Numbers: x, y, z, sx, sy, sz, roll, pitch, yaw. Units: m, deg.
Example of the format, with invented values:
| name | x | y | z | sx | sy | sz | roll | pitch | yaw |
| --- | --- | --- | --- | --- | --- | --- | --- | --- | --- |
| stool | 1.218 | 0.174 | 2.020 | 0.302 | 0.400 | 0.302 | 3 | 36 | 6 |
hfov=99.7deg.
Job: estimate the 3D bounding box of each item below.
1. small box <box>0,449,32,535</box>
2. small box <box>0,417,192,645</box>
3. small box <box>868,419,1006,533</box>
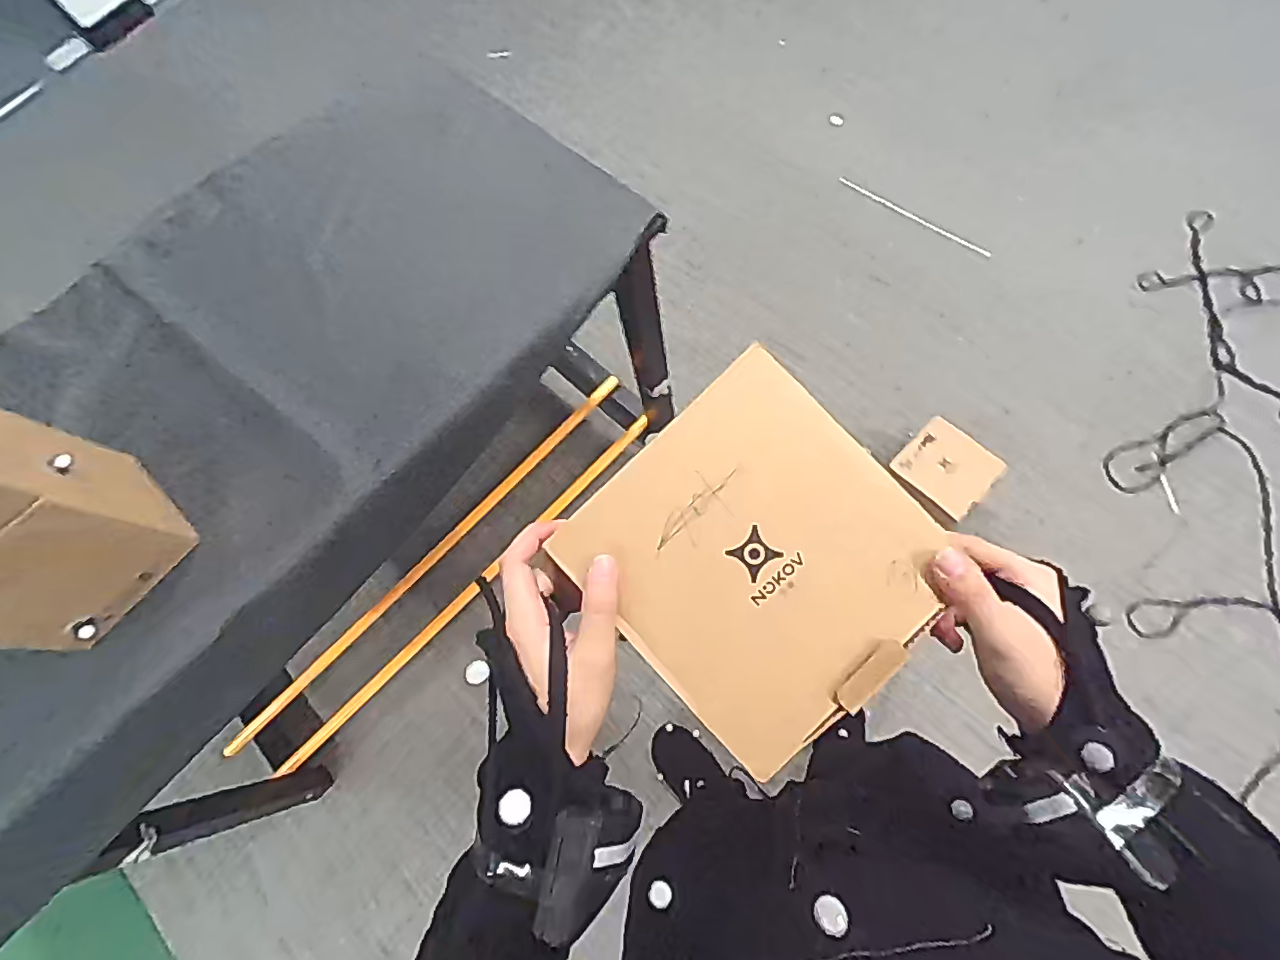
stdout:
| name | x | y | z | sx | sy | sz | roll | pitch | yaw |
| --- | --- | --- | --- | --- | --- | --- | --- | --- | --- |
| small box | -0.663 | 0.002 | 0.419 | 0.179 | 0.176 | 0.168 | 35 | 79 | 17 |
| small box | -0.641 | 0.058 | 0.573 | 0.179 | 0.176 | 0.168 | 37 | 79 | 19 |
| small box | 0.646 | 0.001 | 1.199 | 0.168 | 0.176 | 0.179 | -43 | 72 | -8 |
